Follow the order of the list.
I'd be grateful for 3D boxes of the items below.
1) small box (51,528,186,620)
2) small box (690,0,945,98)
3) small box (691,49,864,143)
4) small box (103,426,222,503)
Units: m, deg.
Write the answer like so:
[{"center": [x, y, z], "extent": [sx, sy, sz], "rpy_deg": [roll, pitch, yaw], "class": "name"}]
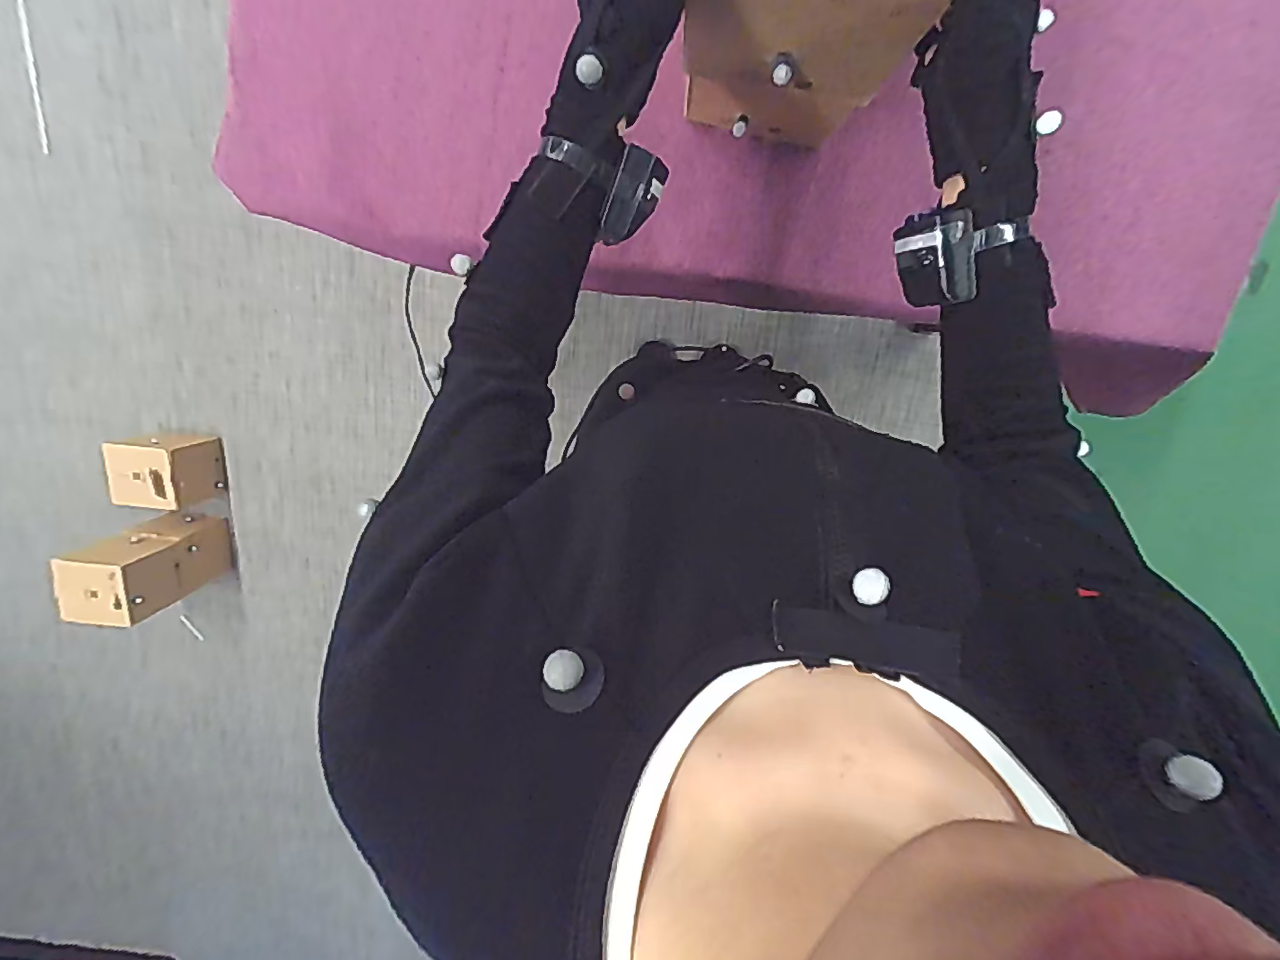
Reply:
[{"center": [-1.310, 0.231, 1.370], "extent": [0.179, 0.176, 0.168], "rpy_deg": [7, 106, 2], "class": "small box"}, {"center": [0.130, -0.411, 0.375], "extent": [0.168, 0.176, 0.179], "rpy_deg": [11, 106, 1], "class": "small box"}, {"center": [0.146, -0.467, 0.528], "extent": [0.168, 0.176, 0.179], "rpy_deg": [13, 106, 0], "class": "small box"}, {"center": [-1.273, -0.047, 1.460], "extent": [0.179, 0.176, 0.168], "rpy_deg": [6, 105, 2], "class": "small box"}]
